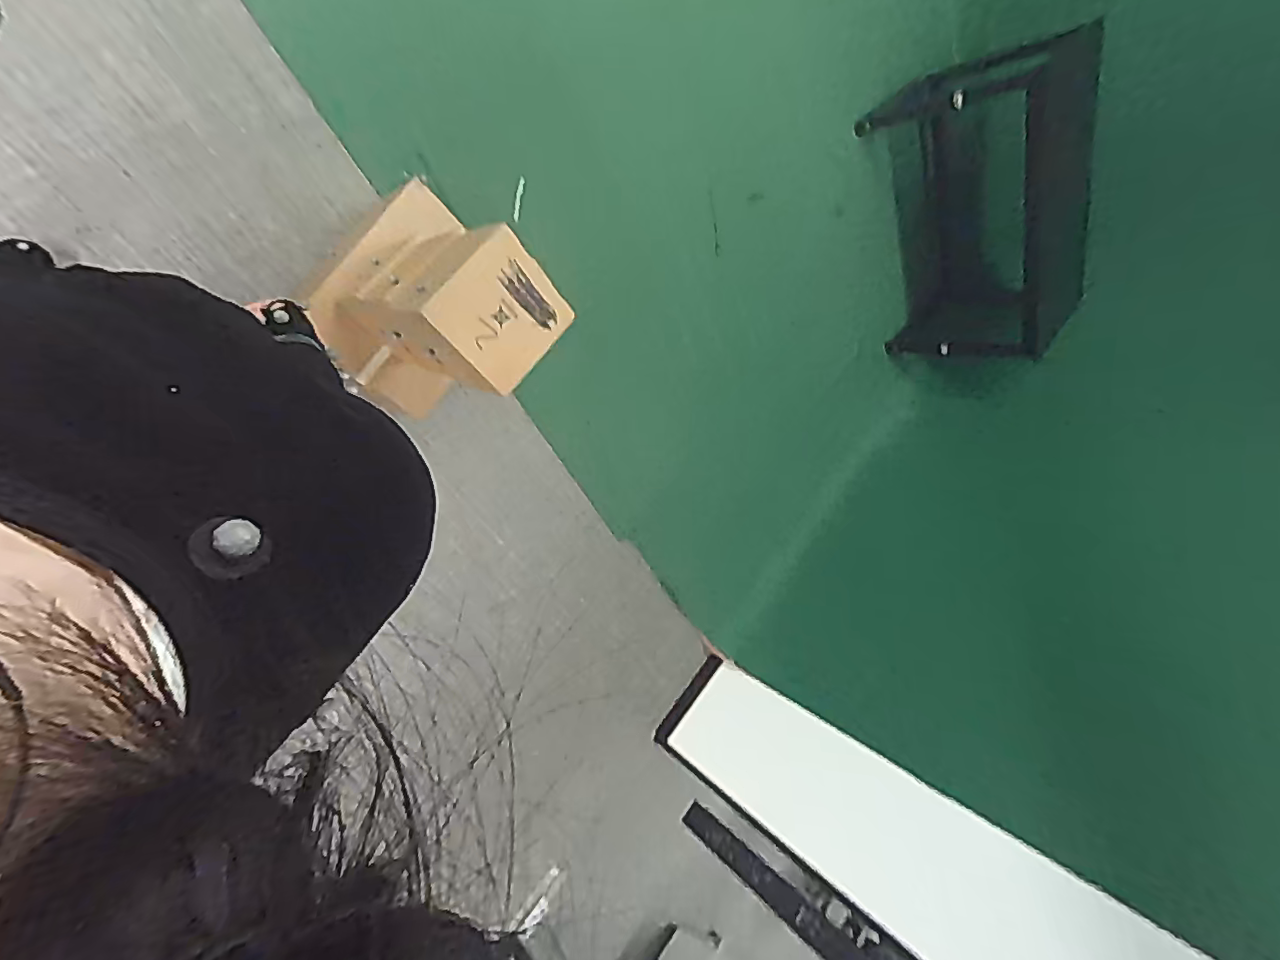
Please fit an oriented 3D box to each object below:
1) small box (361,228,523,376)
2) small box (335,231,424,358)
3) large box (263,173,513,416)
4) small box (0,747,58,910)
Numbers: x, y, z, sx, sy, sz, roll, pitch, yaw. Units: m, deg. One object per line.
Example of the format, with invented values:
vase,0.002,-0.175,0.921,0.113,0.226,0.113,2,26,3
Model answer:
small box,-0.346,-0.305,0.935,0.179,0.176,0.168,-52,130,-16
small box,-0.452,-0.349,1.050,0.168,0.176,0.179,-53,131,-15
large box,-0.581,-0.409,1.254,0.320,0.320,0.408,43,72,-42
small box,-1.031,0.548,0.808,0.179,0.176,0.168,-17,116,-36
